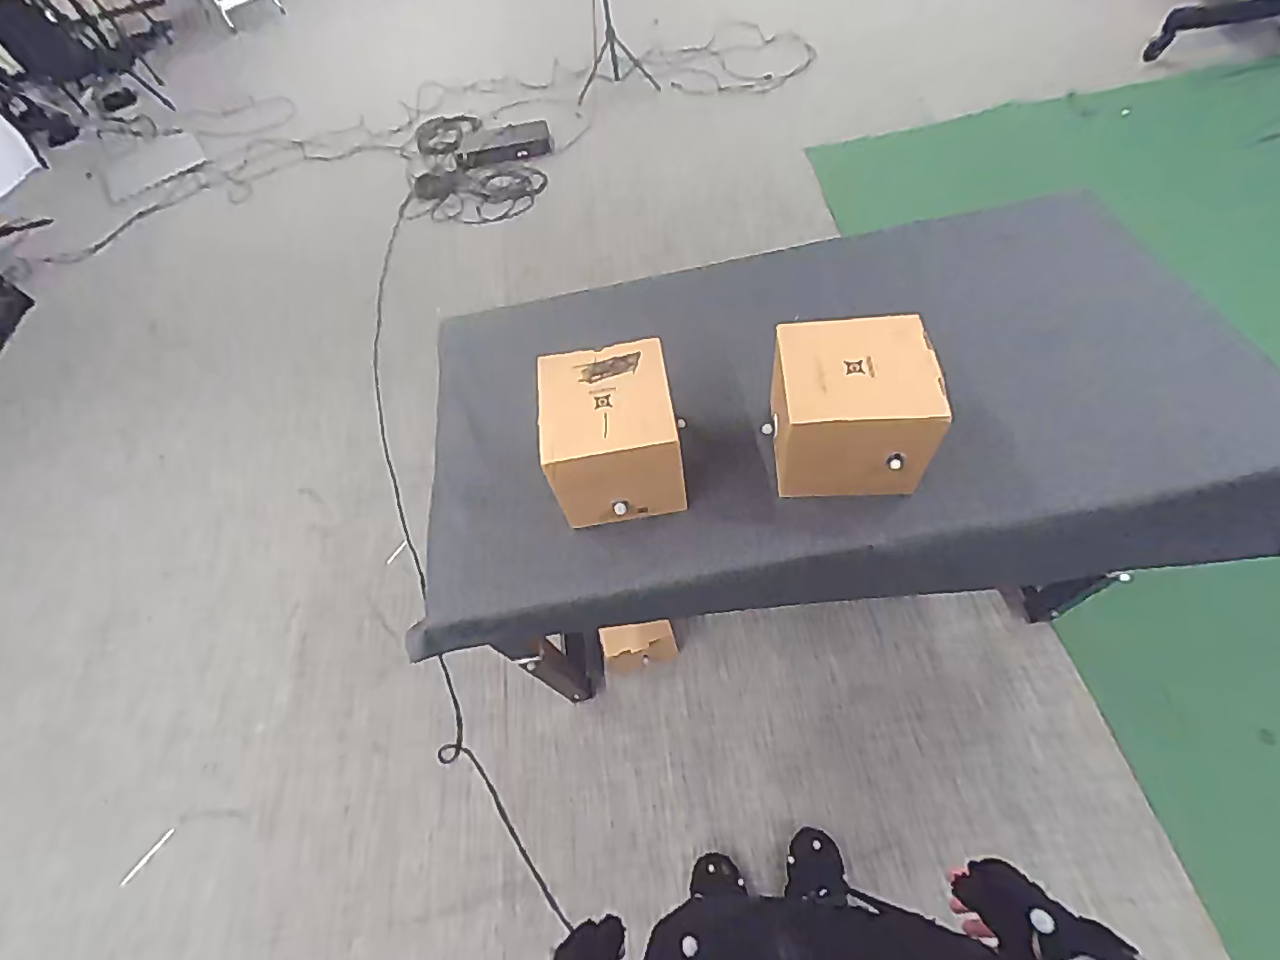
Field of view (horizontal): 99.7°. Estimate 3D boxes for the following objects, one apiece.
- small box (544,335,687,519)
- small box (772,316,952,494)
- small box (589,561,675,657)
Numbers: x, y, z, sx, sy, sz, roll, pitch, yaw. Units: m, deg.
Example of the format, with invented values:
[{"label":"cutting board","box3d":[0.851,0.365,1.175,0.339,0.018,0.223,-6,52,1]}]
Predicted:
[{"label":"small box","box3d":[-0.029,-0.068,0.741,0.168,0.176,0.179,-9,58,3]},{"label":"small box","box3d":[0.274,-0.091,0.713,0.179,0.176,0.168,-2,58,9]},{"label":"small box","box3d":[-0.015,0.332,1.360,0.168,0.176,0.179,-18,59,-2]}]
